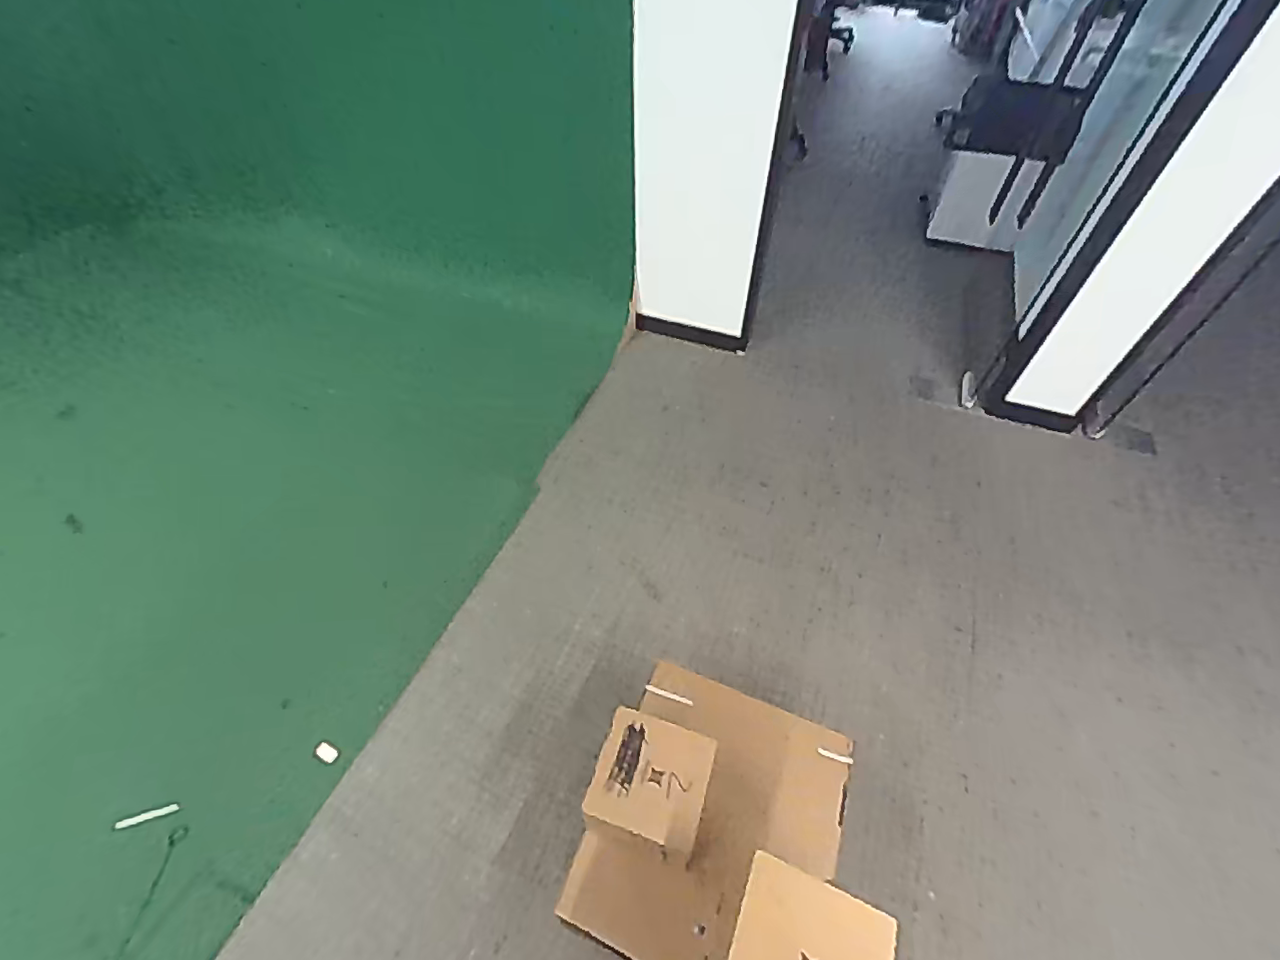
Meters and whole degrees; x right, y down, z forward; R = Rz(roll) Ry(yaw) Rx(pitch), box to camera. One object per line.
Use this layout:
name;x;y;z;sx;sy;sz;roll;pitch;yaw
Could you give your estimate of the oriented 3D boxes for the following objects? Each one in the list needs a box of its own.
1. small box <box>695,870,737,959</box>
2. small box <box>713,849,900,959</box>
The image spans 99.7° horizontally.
small box;0.180;0.681;0.758;0.179;0.176;0.168;19;52;14
small box;0.181;0.575;0.635;0.168;0.176;0.179;19;53;15
